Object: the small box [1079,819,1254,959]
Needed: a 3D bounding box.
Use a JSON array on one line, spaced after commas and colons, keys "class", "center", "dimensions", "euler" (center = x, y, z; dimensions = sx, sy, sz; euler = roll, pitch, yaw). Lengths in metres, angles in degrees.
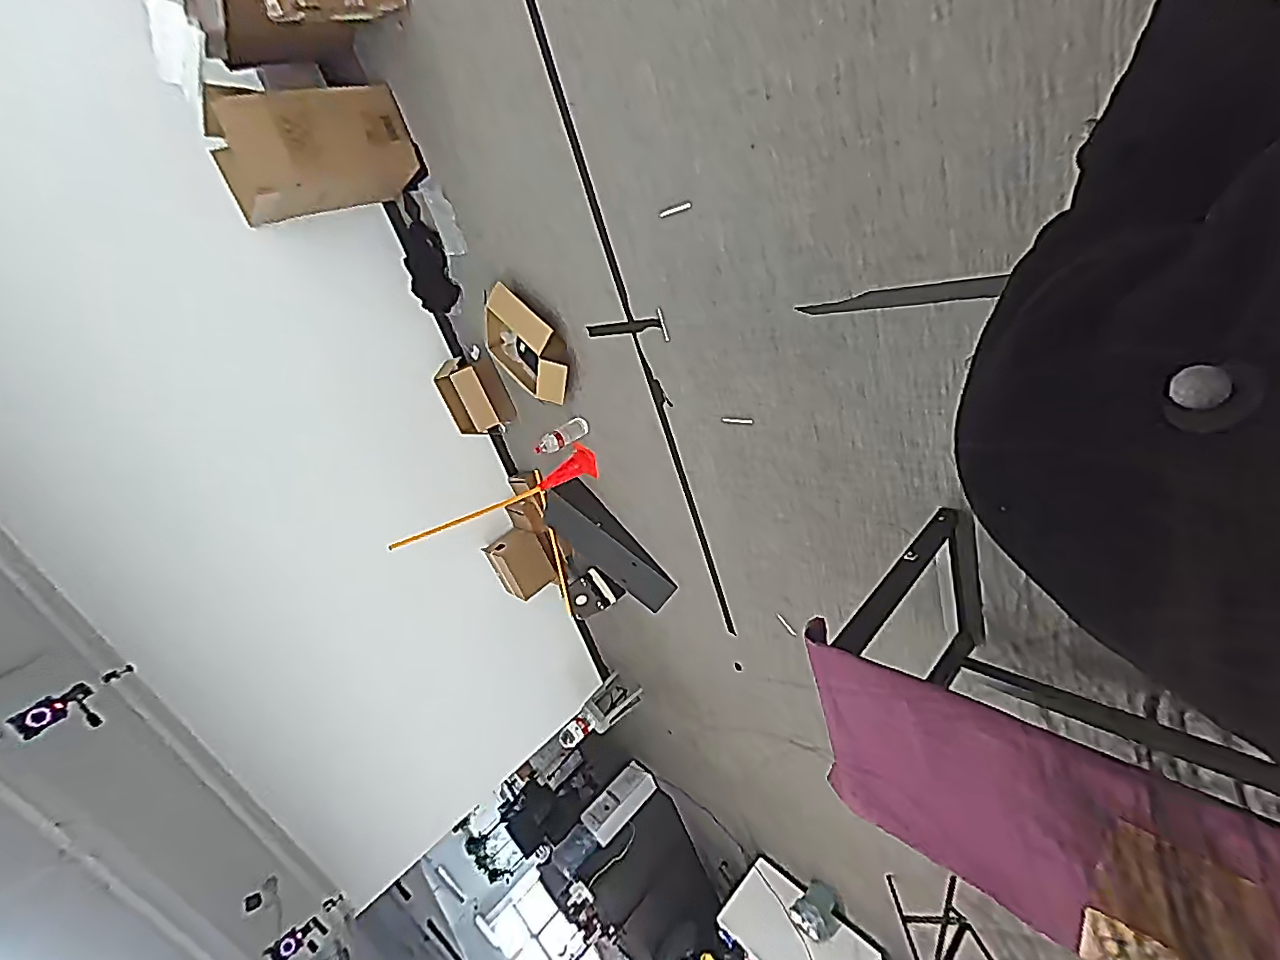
[{"class": "small box", "center": [0.821, 0.690, 0.849], "dimensions": [0.168, 0.176, 0.179], "euler": [14, 131, 47]}]
